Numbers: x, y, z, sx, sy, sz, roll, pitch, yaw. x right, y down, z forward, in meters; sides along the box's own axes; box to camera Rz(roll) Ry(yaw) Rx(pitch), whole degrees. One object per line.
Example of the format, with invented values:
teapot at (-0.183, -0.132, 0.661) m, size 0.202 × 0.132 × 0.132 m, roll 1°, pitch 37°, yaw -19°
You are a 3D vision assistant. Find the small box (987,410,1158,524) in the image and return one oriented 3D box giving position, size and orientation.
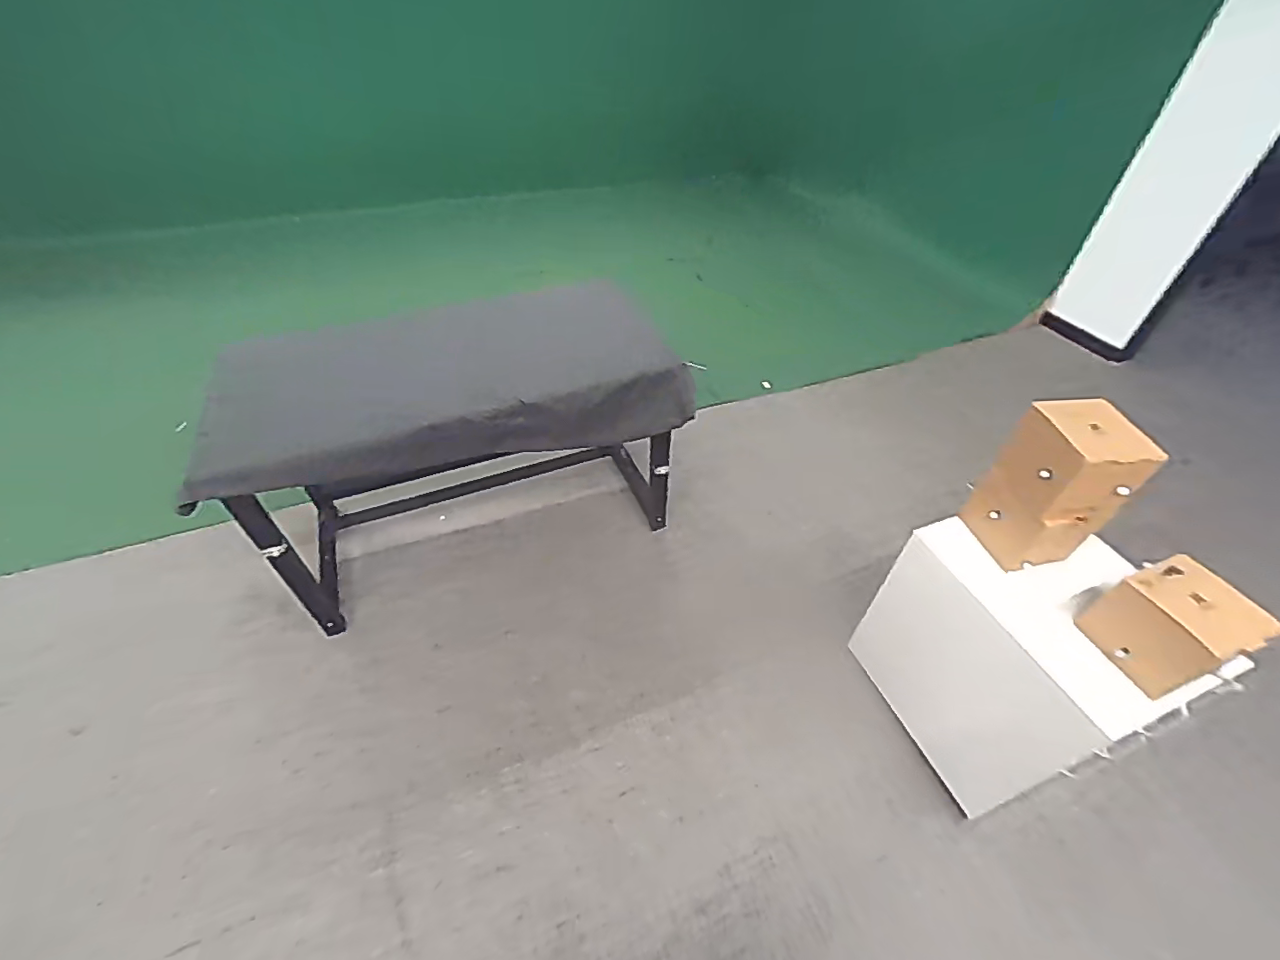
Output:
small box at (0.864, -0.023, 1.103) m, size 0.168 × 0.176 × 0.179 m, roll -2°, pitch 44°, yaw -8°

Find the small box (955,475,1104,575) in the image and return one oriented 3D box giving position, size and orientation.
small box at (0.858, 0.096, 1.212) m, size 0.168 × 0.176 × 0.179 m, roll -8°, pitch 45°, yaw -12°

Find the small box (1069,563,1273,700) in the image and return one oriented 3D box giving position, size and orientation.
small box at (0.983, 0.292, 1.020) m, size 0.168 × 0.176 × 0.179 m, roll -13°, pitch 47°, yaw -16°
